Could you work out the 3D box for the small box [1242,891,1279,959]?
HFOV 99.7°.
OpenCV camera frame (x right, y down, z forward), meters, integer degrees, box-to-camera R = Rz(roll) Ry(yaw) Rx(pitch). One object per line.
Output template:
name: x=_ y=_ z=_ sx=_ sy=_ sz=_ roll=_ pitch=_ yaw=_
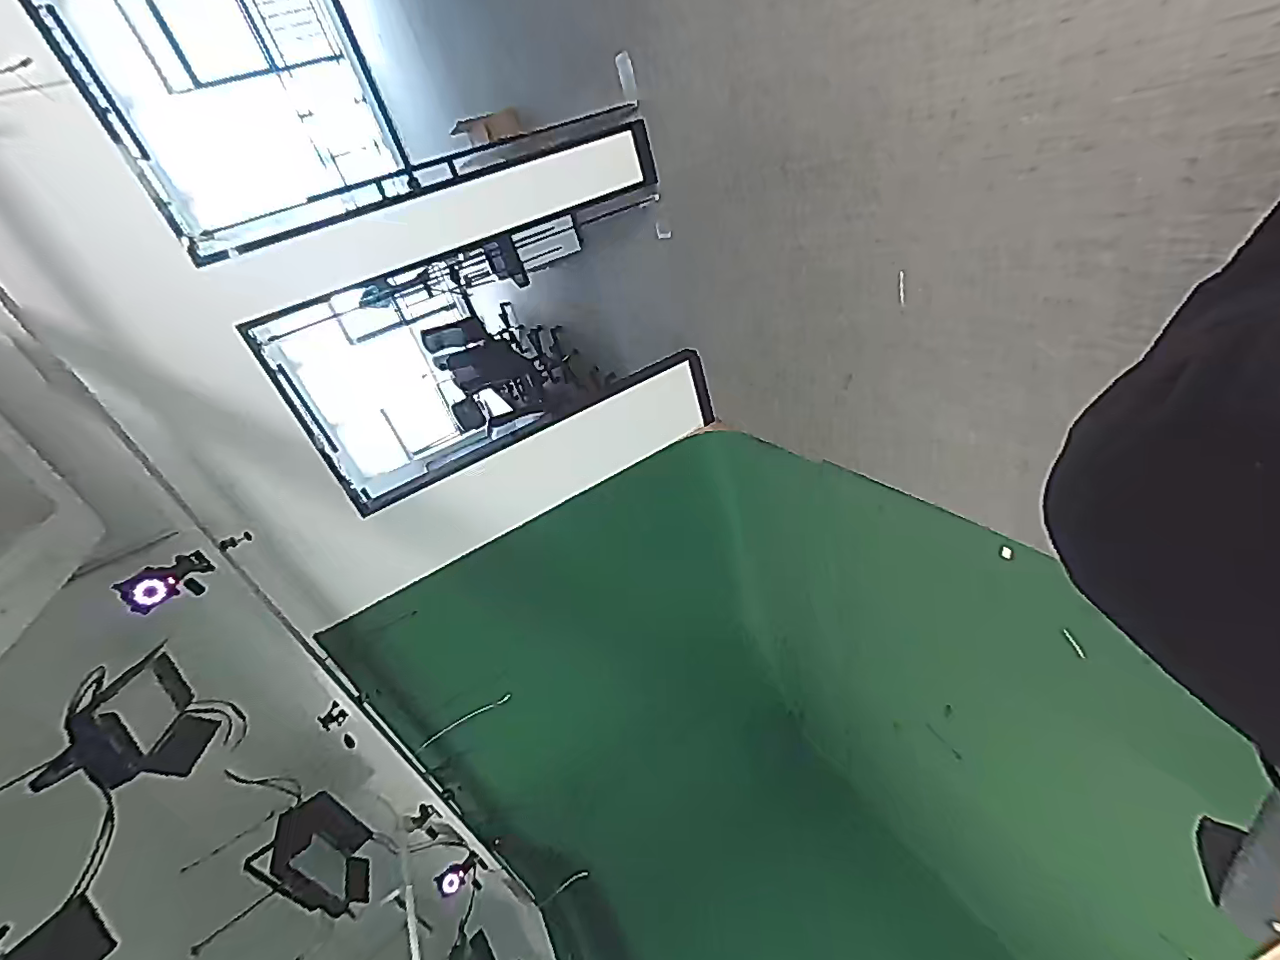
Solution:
small box: x=1.026 y=0.666 z=0.752 sx=0.179 sy=0.176 sz=0.168 roll=39 pitch=152 yaw=49
